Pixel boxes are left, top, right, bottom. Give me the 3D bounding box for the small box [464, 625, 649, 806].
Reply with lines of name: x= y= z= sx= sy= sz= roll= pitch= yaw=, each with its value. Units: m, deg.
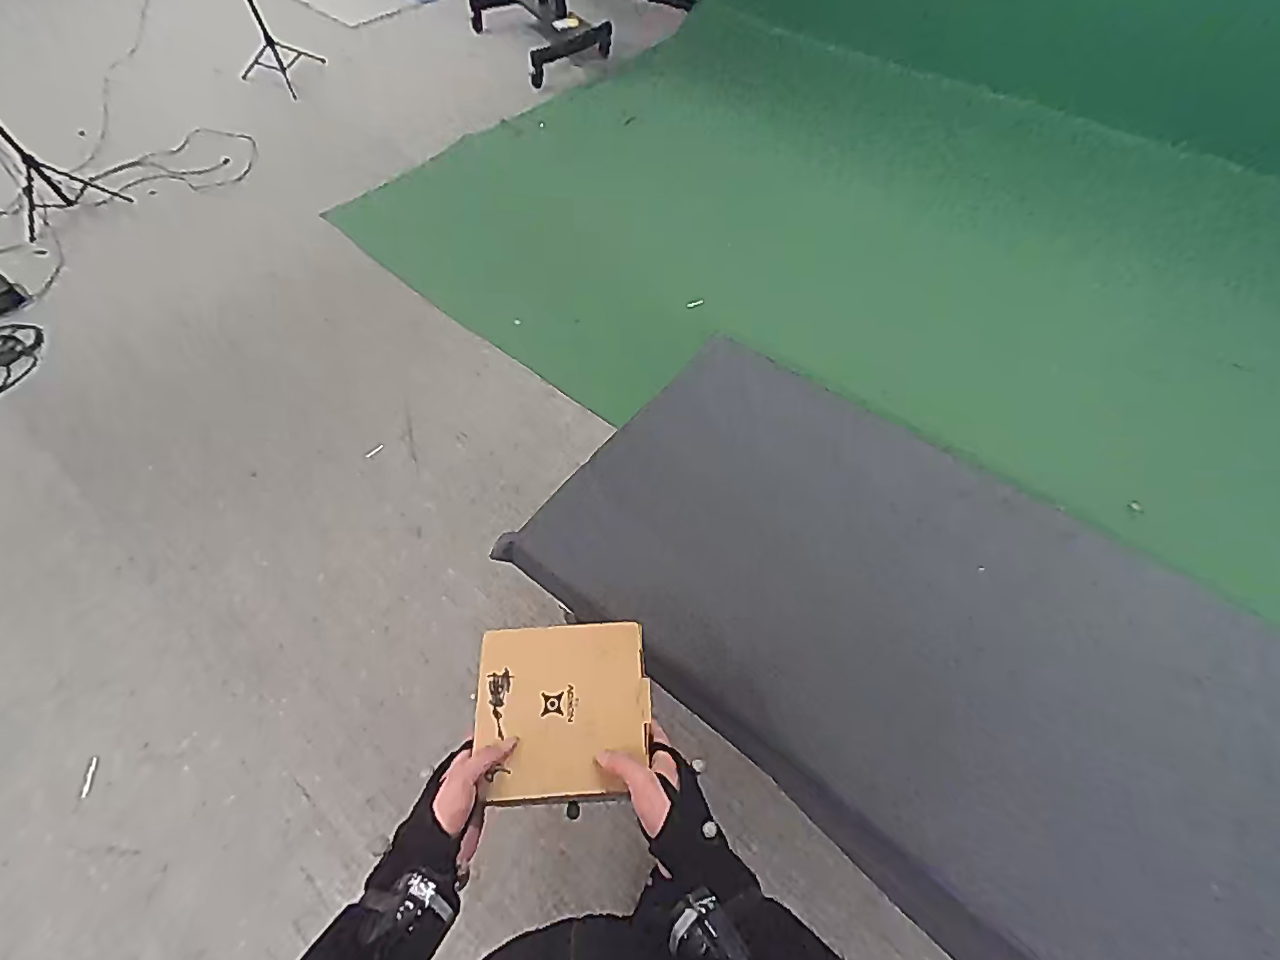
small box: x=-0.084 y=0.272 z=0.618 sx=0.179 sy=0.176 sz=0.168 roll=-3 pitch=58 yaw=-2
